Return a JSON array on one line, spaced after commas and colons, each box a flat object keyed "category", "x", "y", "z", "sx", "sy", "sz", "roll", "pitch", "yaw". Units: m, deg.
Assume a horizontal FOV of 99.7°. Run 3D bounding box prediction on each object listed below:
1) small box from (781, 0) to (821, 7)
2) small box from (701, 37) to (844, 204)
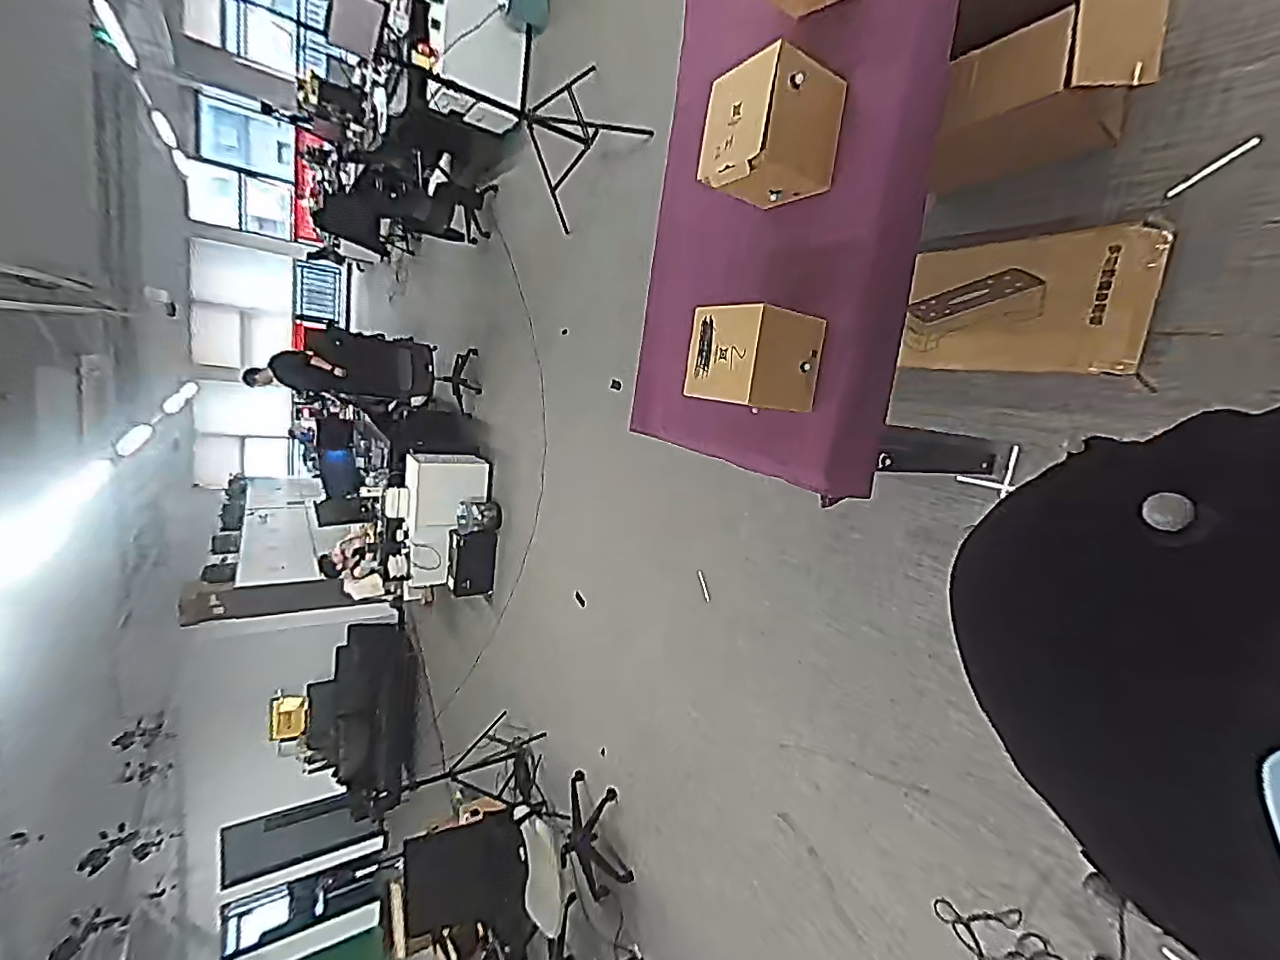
[{"category": "small box", "x": 0.284, "y": -0.922, "z": 0.881, "sx": 0.168, "sy": 0.176, "sz": 0.179, "roll": 32, "pitch": 115, "yaw": 51}, {"category": "small box", "x": 0.233, "y": -0.616, "z": 0.954, "sx": 0.168, "sy": 0.176, "sz": 0.179, "roll": 22, "pitch": 108, "yaw": 56}]
